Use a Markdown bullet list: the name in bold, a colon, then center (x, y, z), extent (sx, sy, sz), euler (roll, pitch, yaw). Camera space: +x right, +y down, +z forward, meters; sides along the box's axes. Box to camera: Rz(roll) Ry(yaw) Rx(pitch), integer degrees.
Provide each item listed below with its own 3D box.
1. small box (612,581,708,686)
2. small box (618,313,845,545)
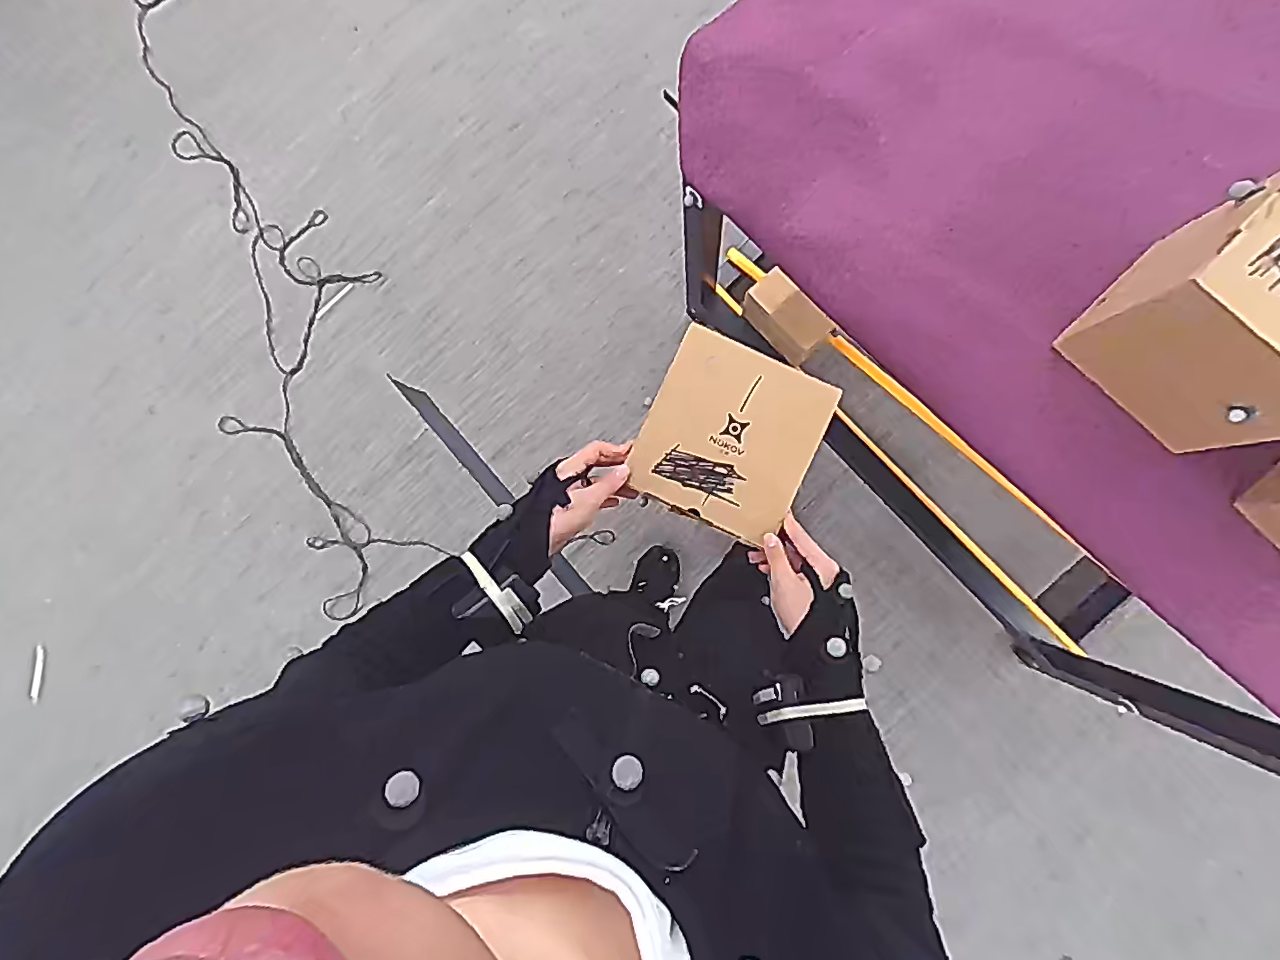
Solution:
- **small box**: center (0.042, 0.347, 1.249), extent (0.179, 0.176, 0.168), euler (24, 86, 4)
- **small box**: center (0.089, -0.046, 0.595), extent (0.168, 0.176, 0.179), euler (25, 88, 1)
